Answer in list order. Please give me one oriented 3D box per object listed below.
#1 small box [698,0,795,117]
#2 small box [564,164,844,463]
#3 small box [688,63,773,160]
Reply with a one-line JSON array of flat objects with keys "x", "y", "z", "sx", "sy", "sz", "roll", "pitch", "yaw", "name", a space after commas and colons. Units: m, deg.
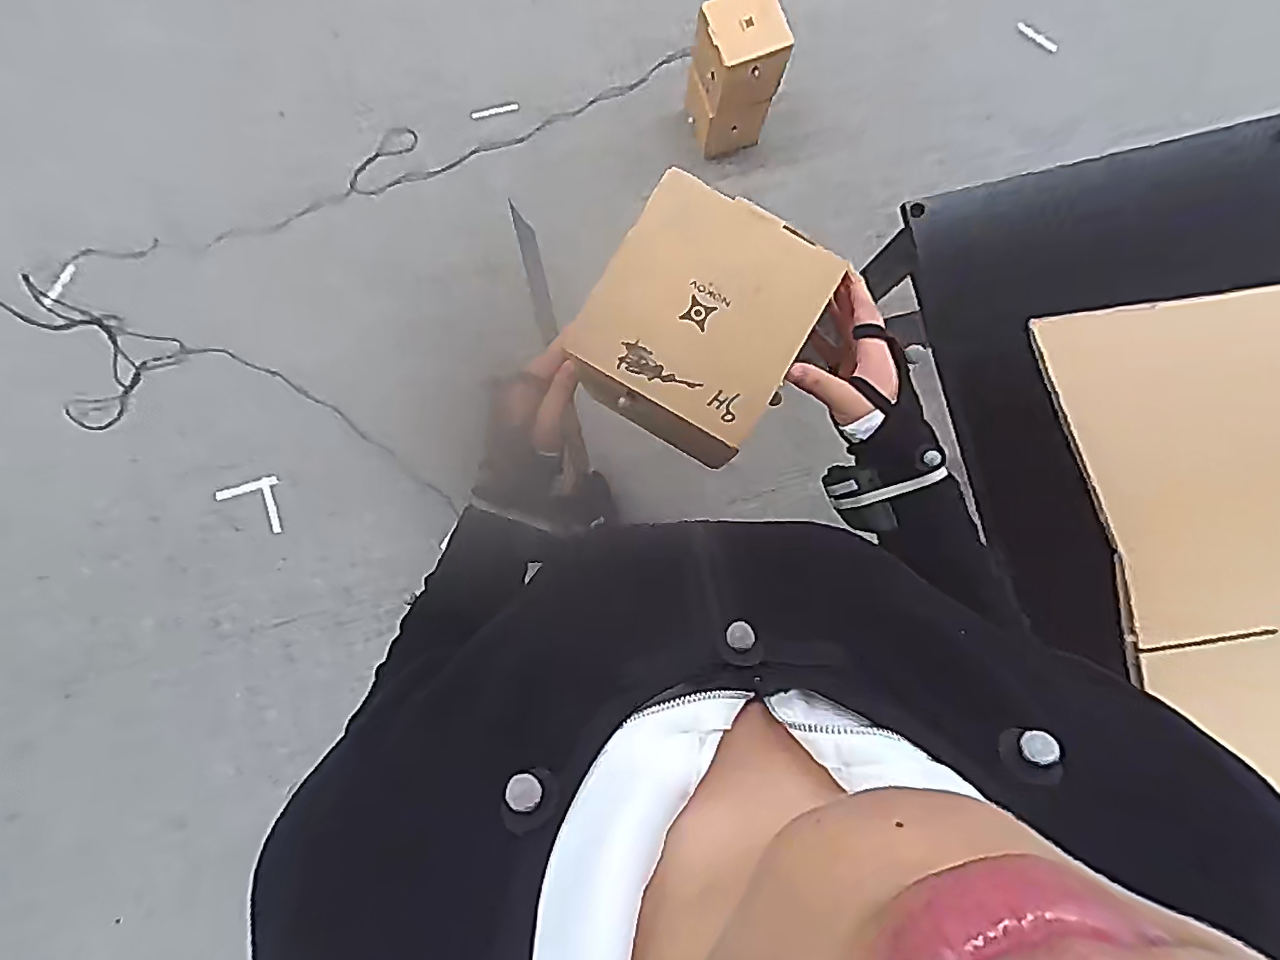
[{"x": 0.251, "y": -1.042, "z": 1.330, "sx": 0.179, "sy": 0.176, "sz": 0.168, "roll": -21, "pitch": 88, "yaw": -3, "name": "small box"}, {"x": 0.053, "y": -0.135, "z": 0.505, "sx": 0.168, "sy": 0.176, "sz": 0.179, "roll": 31, "pitch": 87, "yaw": 5, "name": "small box"}, {"x": 0.243, "y": -1.029, "z": 1.492, "sx": 0.179, "sy": 0.176, "sz": 0.168, "roll": -18, "pitch": 87, "yaw": -1, "name": "small box"}]
